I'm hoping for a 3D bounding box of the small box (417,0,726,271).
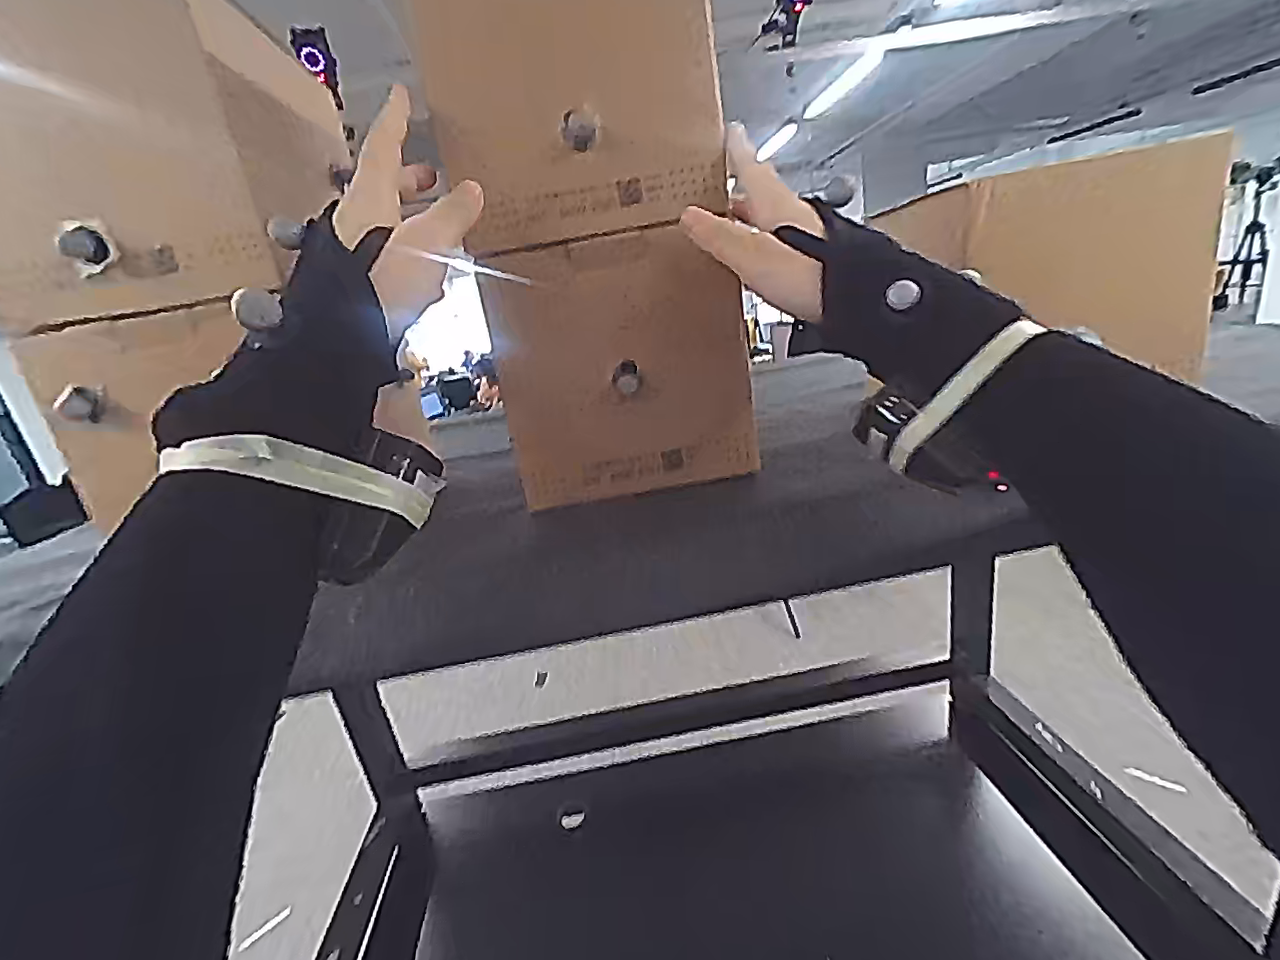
[{"bbox_3d":[-0.044,-0.243,0.393,0.168,0.176,0.179,-11,16,-3],"label":"small box"}]

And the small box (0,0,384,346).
[{"bbox_3d":[-0.302,-0.191,0.377,0.168,0.176,0.179,-11,17,-3],"label":"small box"}]

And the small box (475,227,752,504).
[{"bbox_3d":[-0.015,-0.087,0.436,0.168,0.176,0.179,-10,16,-1],"label":"small box"}]

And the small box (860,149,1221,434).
[{"bbox_3d":[0.295,-0.141,0.443,0.168,0.176,0.179,-9,17,3],"label":"small box"}]
